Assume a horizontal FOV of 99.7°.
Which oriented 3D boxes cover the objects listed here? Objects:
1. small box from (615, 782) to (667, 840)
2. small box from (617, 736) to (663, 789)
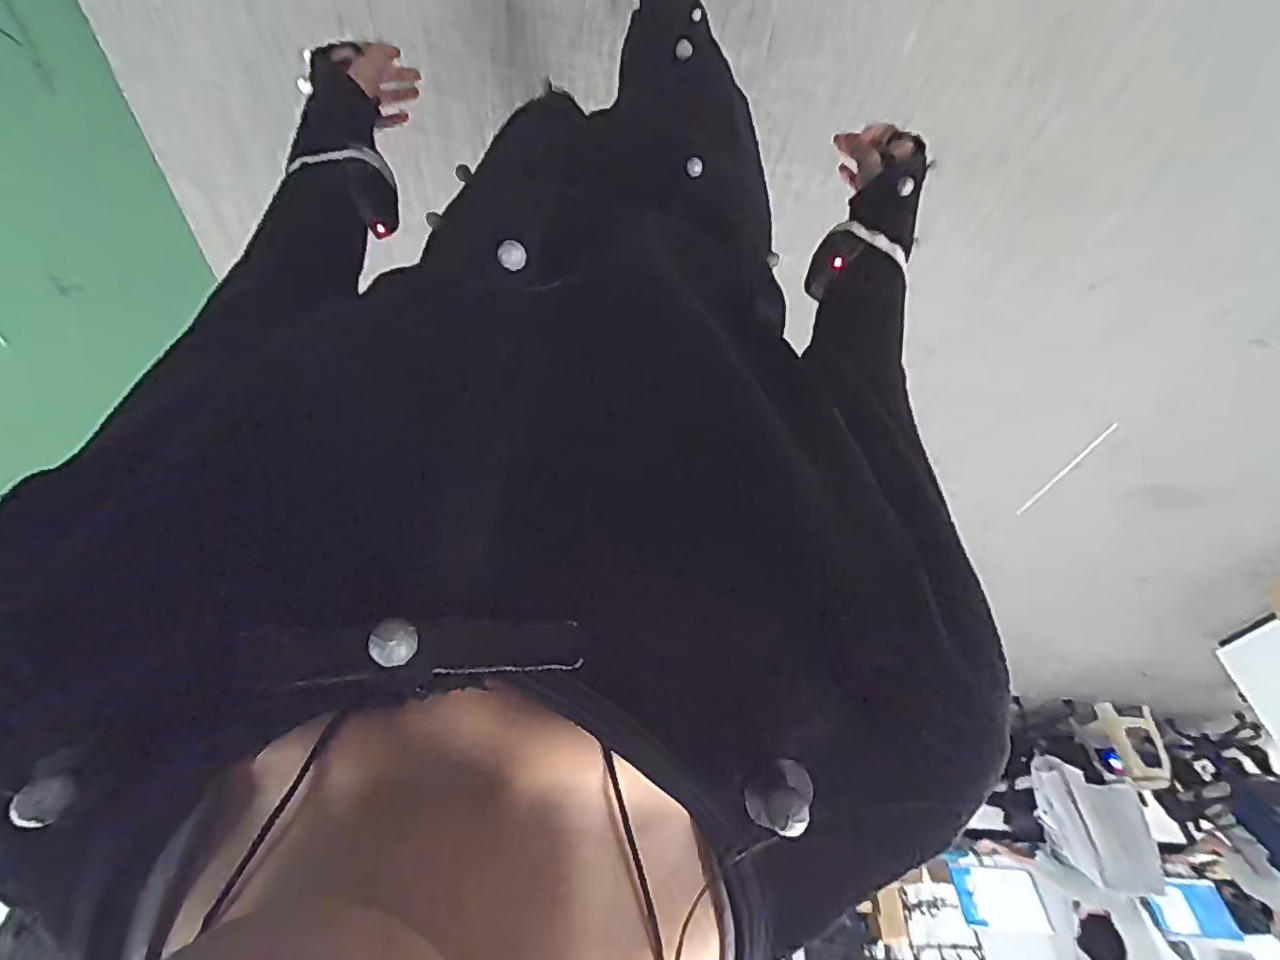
[{"bbox_3d":[0.004,1.292,2.114,0.179,0.176,0.168,9,140,-6],"label":"small box"},{"bbox_3d":[0.000,1.165,2.220,0.168,0.176,0.179,8,141,-5],"label":"small box"}]
